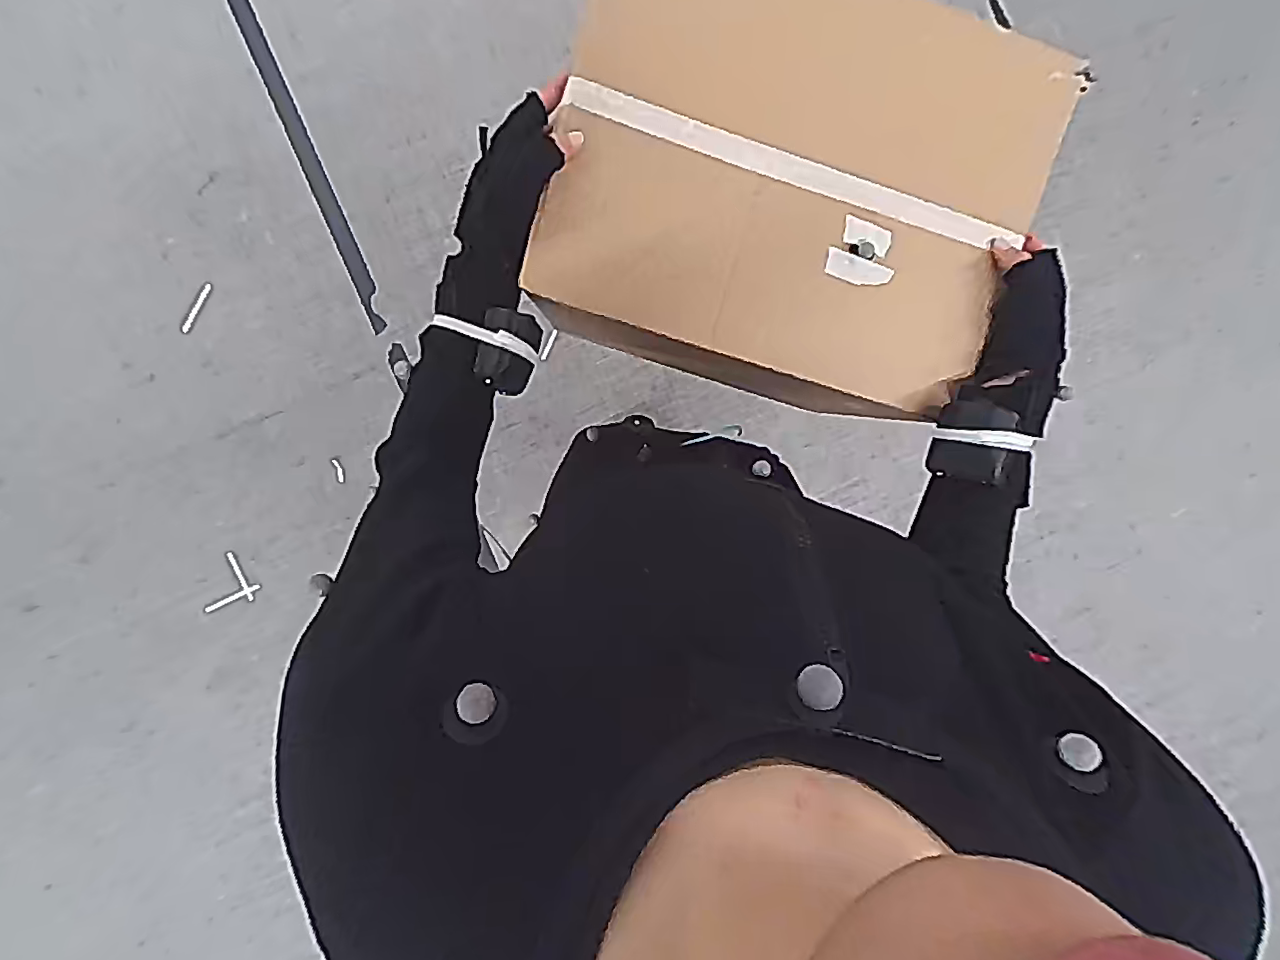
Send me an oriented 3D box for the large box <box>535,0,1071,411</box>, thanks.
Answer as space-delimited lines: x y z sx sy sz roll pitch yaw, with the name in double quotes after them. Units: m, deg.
0.127 -0.284 0.607 0.408 0.320 0.320 17 99 -7 "large box"
